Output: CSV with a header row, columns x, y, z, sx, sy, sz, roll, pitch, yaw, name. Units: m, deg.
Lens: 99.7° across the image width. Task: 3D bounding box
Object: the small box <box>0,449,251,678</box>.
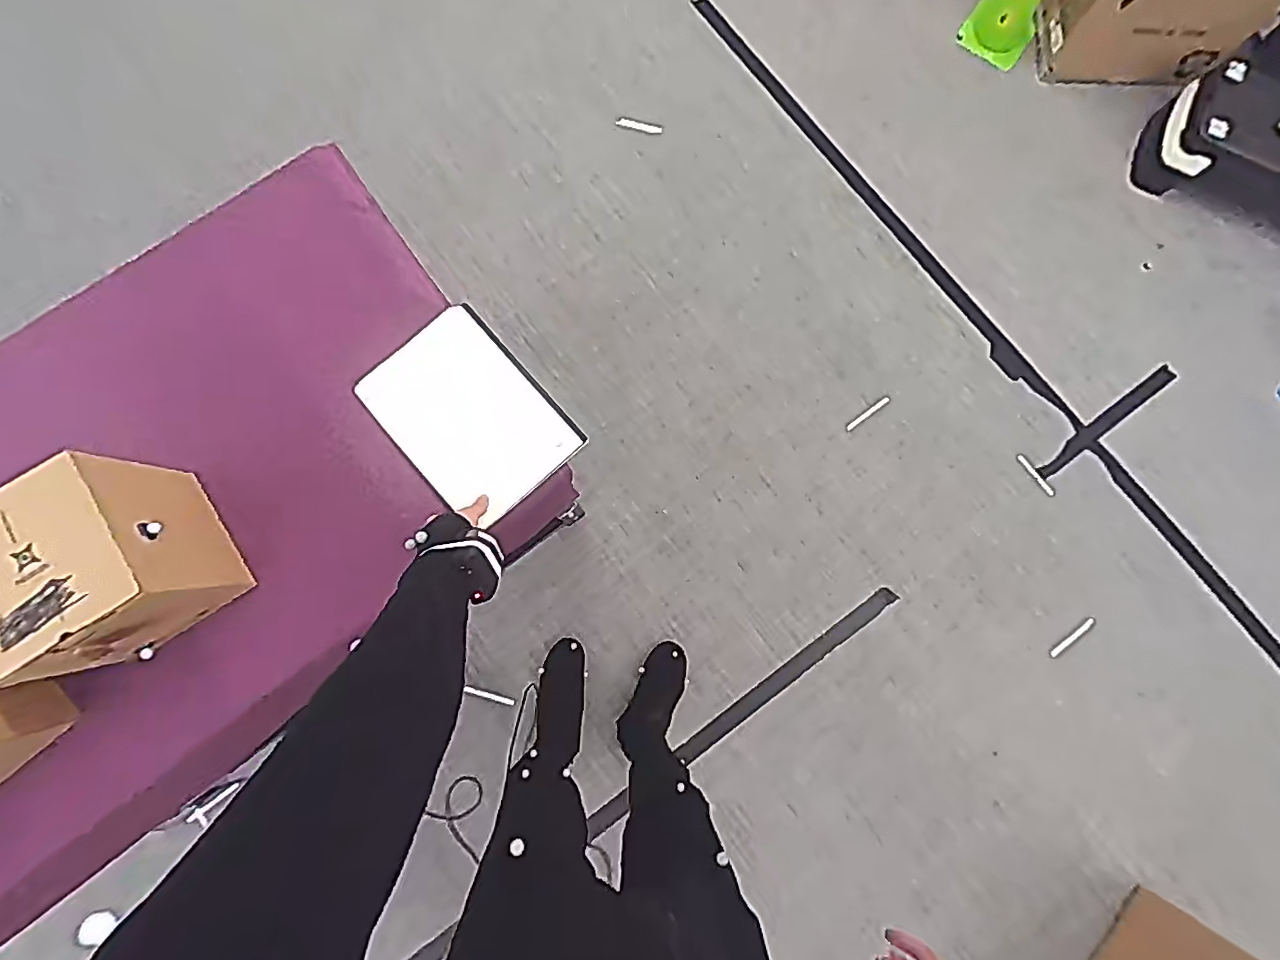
x,y,z,sx,sy,sz,roll,pitch,yaw,name
-0.602,0.091,0.618,0.168,0.176,0.179,-33,83,-6,small box
